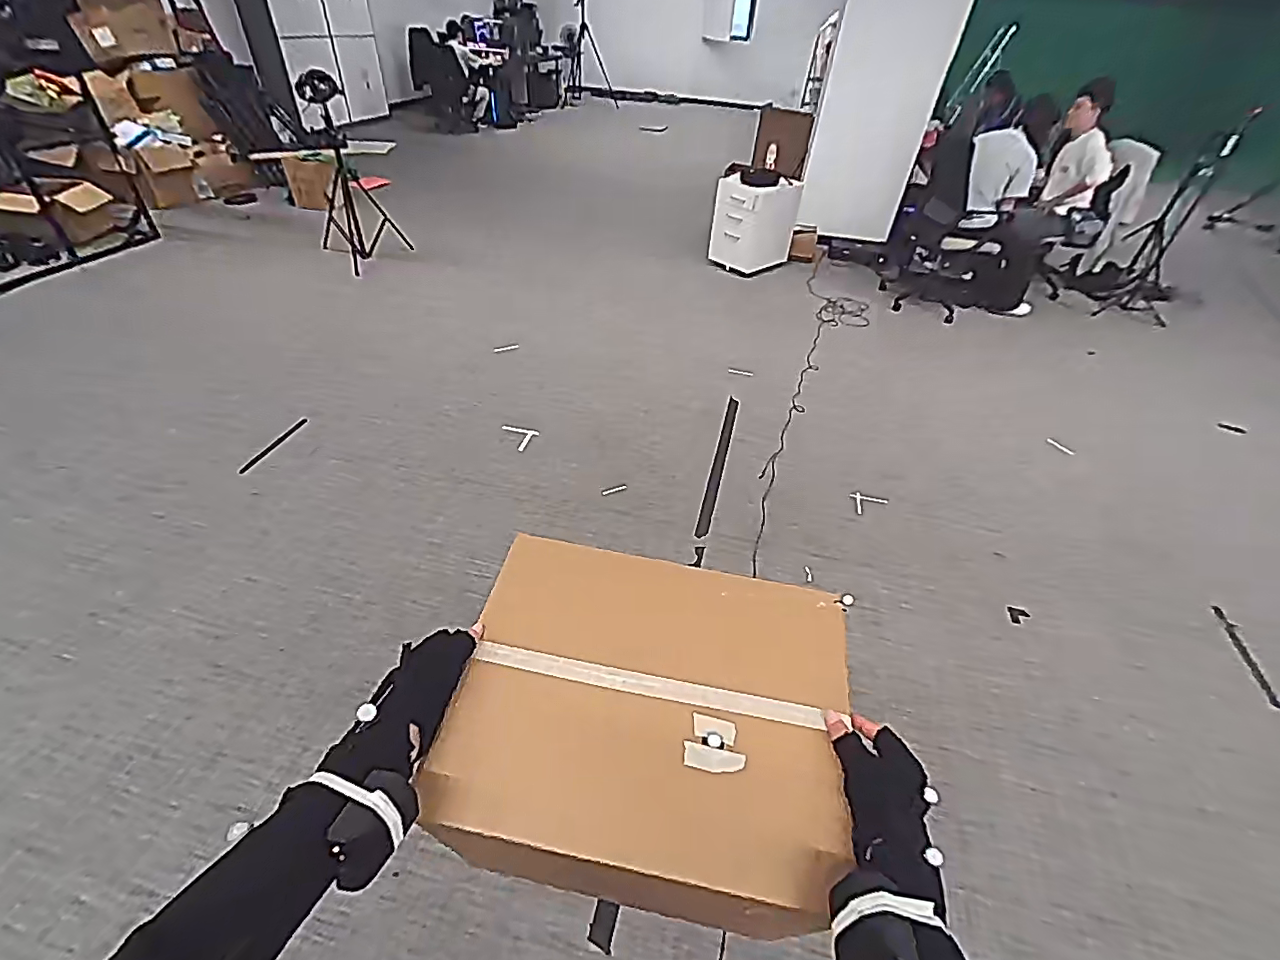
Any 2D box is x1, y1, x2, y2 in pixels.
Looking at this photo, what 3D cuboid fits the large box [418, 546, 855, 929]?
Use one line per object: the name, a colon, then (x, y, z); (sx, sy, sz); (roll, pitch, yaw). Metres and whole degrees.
large box: (0.005, 0.323, 0.684); (0.408, 0.320, 0.320); (10, 48, 4)
